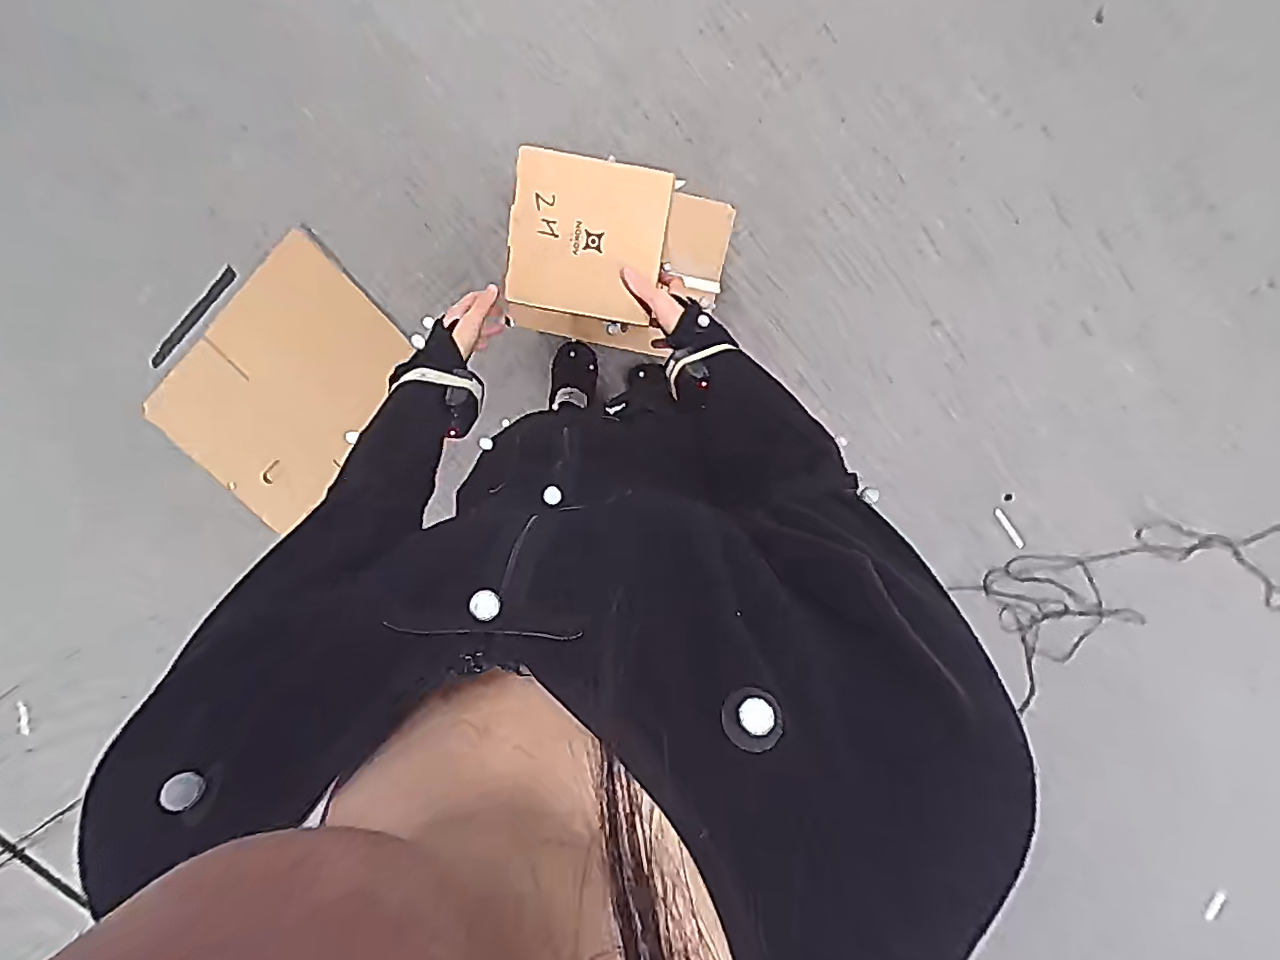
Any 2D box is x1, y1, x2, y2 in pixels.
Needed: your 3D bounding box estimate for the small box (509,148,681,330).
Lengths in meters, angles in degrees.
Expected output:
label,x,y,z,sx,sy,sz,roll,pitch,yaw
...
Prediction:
label,x,y,z,sx,sy,sz,roll,pitch,yaw
small box,-0.052,-0.291,0.686,0.179,0.176,0.168,10,106,-1
